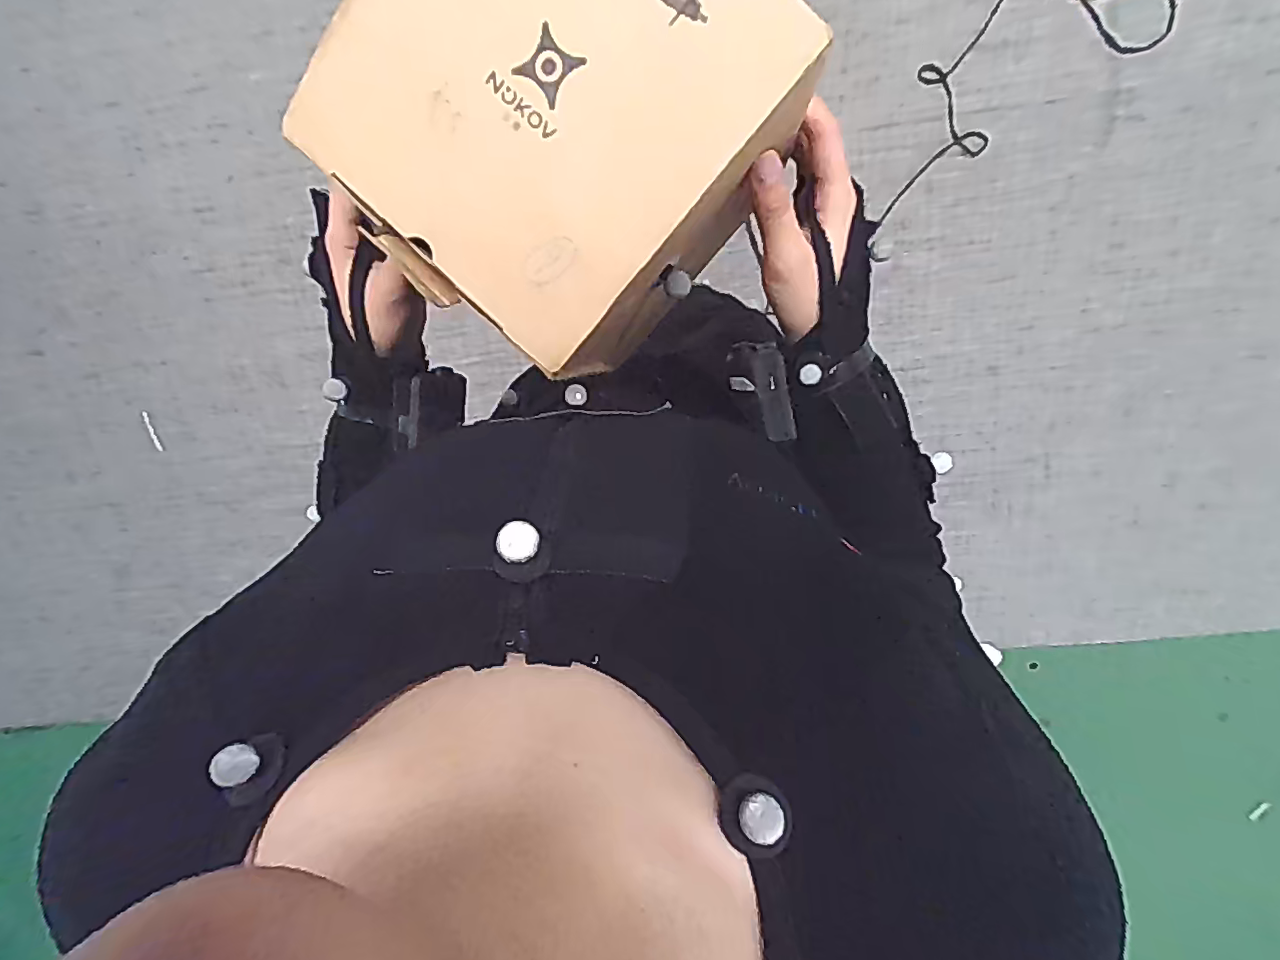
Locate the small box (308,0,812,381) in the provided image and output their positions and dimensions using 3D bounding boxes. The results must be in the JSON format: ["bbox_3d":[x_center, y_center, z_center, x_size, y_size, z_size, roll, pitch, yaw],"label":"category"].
[{"bbox_3d":[-0.031,-0.178,0.312,0.168,0.176,0.179,42,105,-3],"label":"small box"}]
